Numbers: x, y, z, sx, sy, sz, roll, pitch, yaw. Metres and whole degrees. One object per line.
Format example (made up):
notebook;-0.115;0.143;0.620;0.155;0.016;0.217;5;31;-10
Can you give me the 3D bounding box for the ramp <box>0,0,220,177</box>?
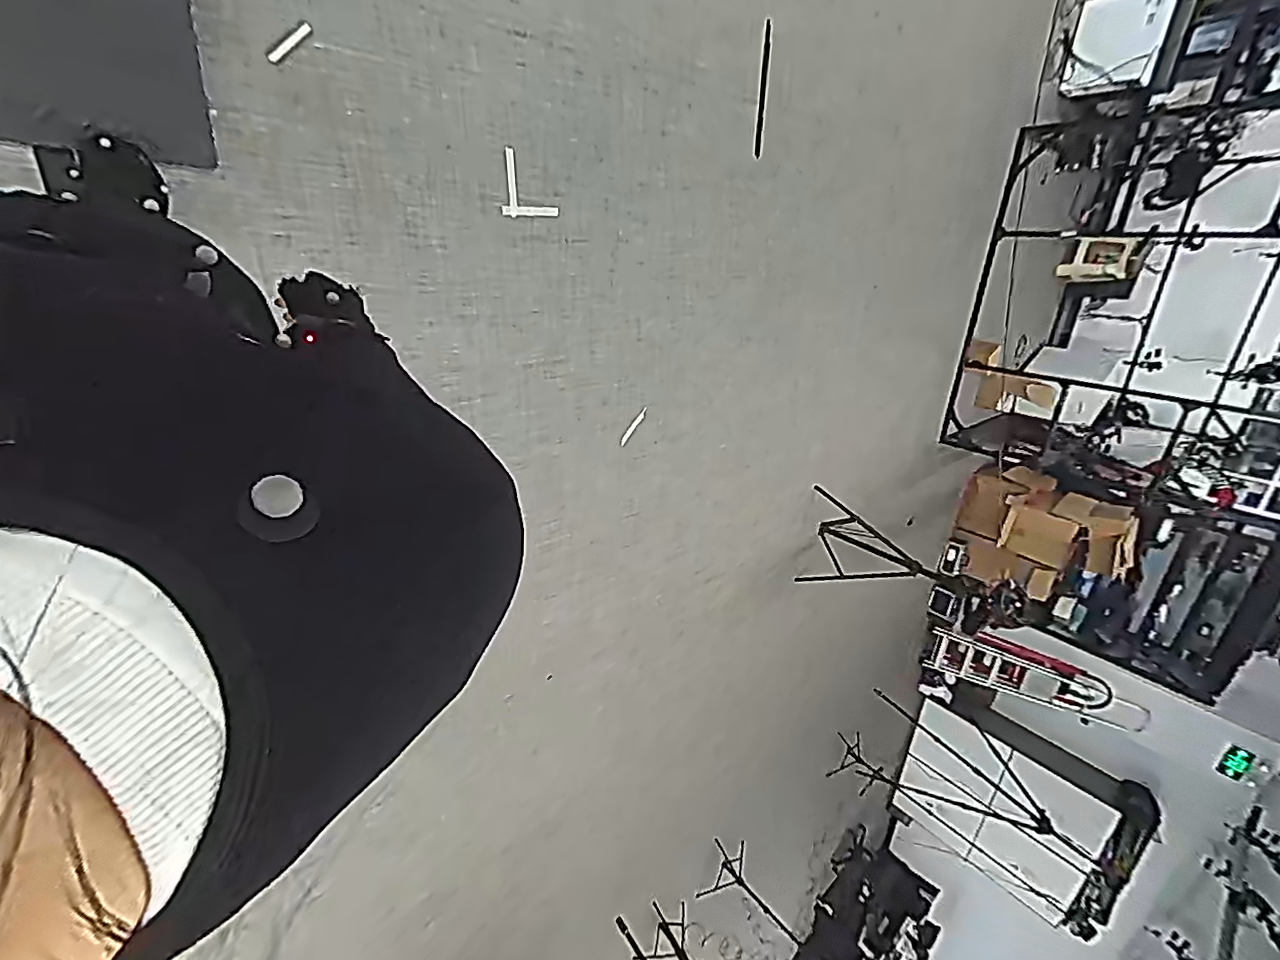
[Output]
ramp;-0.935;-0.972;0.680;0.509;0.206;0.991;-18;119;-38
